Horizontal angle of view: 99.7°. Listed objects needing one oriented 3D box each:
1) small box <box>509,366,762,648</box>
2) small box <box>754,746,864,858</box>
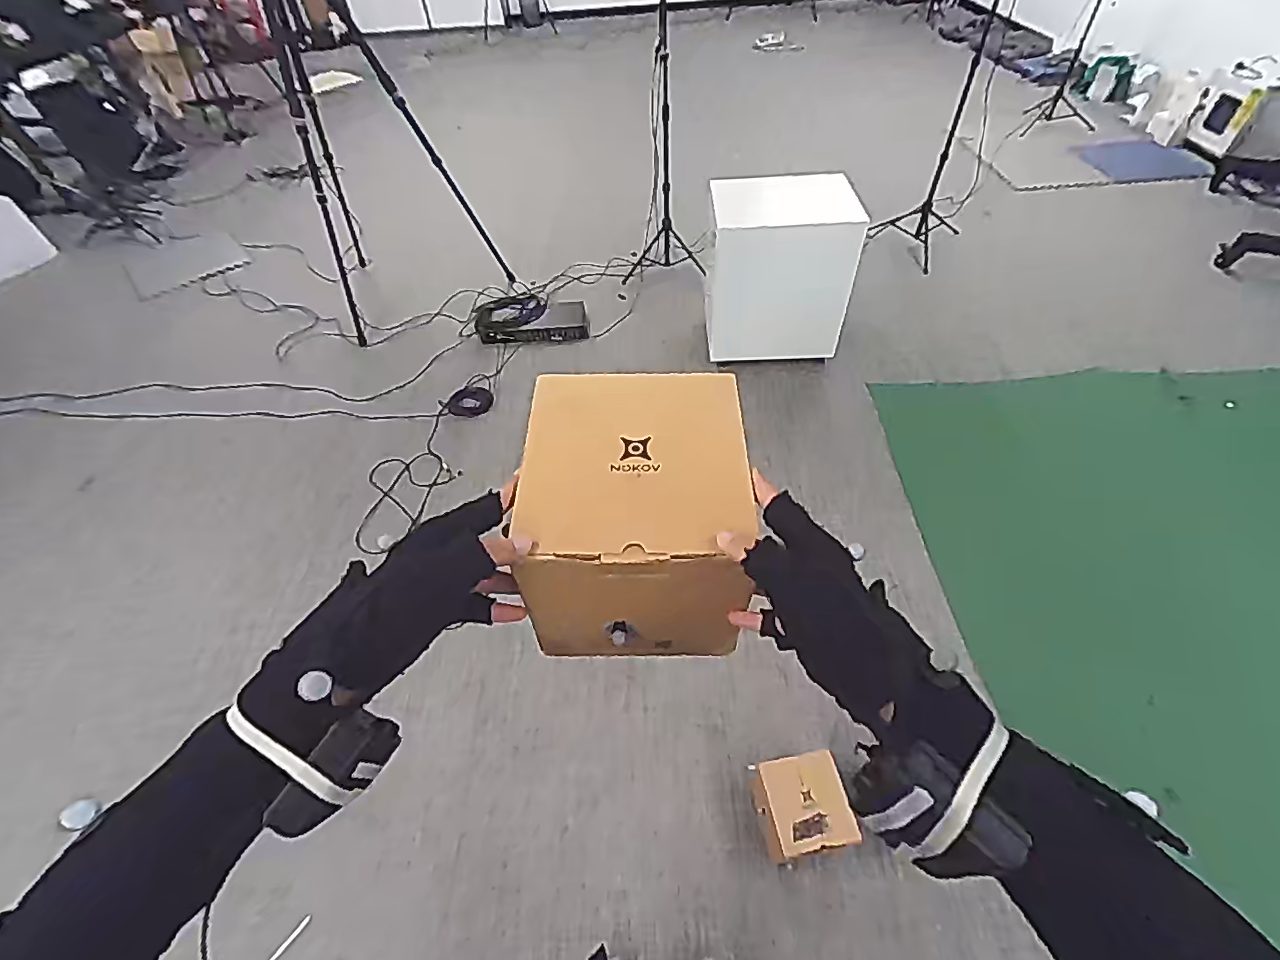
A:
[{"bbox_3d":[-0.002,0.025,0.457,0.168,0.176,0.179,-2,51,1],"label":"small box"},{"bbox_3d":[0.359,0.710,1.183,0.168,0.176,0.179,-9,50,-4],"label":"small box"}]
